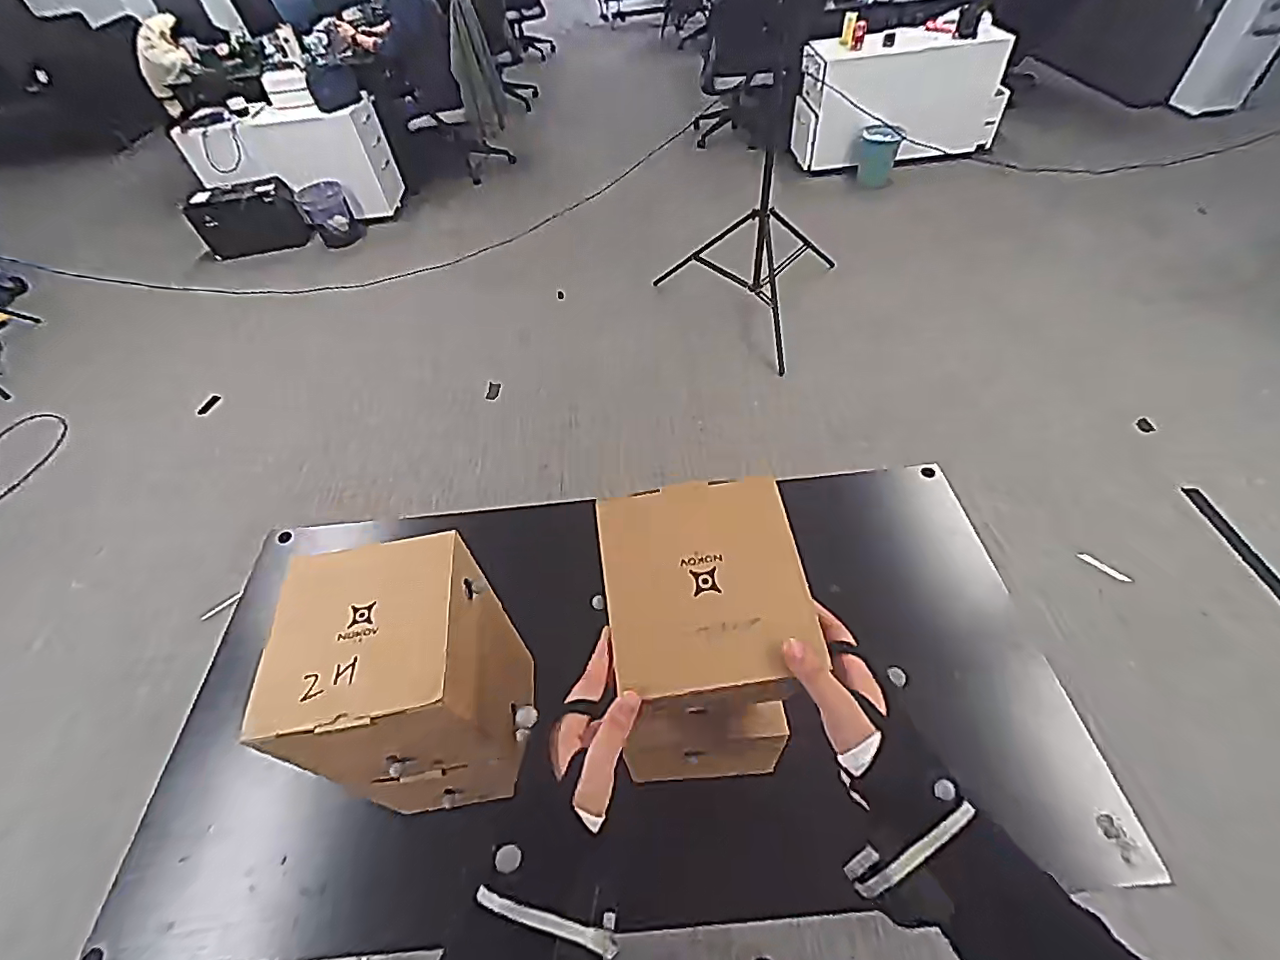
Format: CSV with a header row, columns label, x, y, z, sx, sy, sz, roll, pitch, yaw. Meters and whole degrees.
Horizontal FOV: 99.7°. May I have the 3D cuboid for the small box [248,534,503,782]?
label,x,y,z,sx,sy,sz,roll,pitch,yaw
small box,-0.245,0.184,0.556,0.168,0.176,0.179,-10,50,-2

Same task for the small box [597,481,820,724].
label,x,y,z,sx,sy,sz,roll,pitch,yaw
small box,0.052,0.125,0.529,0.168,0.176,0.179,-8,59,-2

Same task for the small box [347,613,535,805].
label,x,y,z,sx,sy,sz,roll,pitch,yaw
small box,-0.231,0.294,0.680,0.168,0.176,0.179,-9,50,-1

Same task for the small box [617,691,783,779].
label,x,y,z,sx,sy,sz,roll,pitch,yaw
small box,0.067,0.260,0.673,0.179,0.176,0.168,-5,50,1
